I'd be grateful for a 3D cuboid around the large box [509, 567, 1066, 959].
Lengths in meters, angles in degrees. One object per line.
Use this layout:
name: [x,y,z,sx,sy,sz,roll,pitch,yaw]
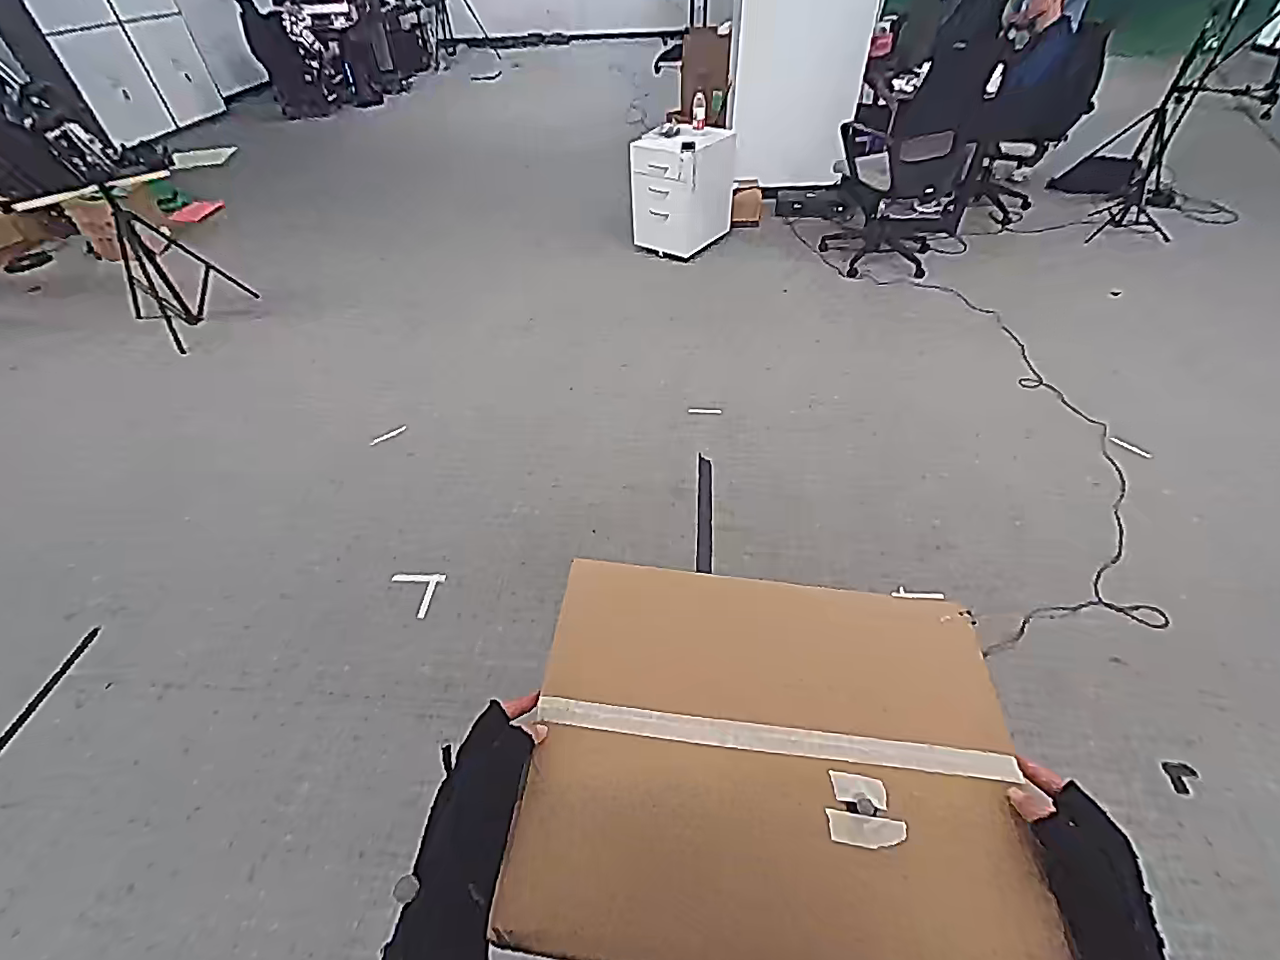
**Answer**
large box: [0.110,0.324,0.583,0.408,0.320,0.320,7,49,3]
